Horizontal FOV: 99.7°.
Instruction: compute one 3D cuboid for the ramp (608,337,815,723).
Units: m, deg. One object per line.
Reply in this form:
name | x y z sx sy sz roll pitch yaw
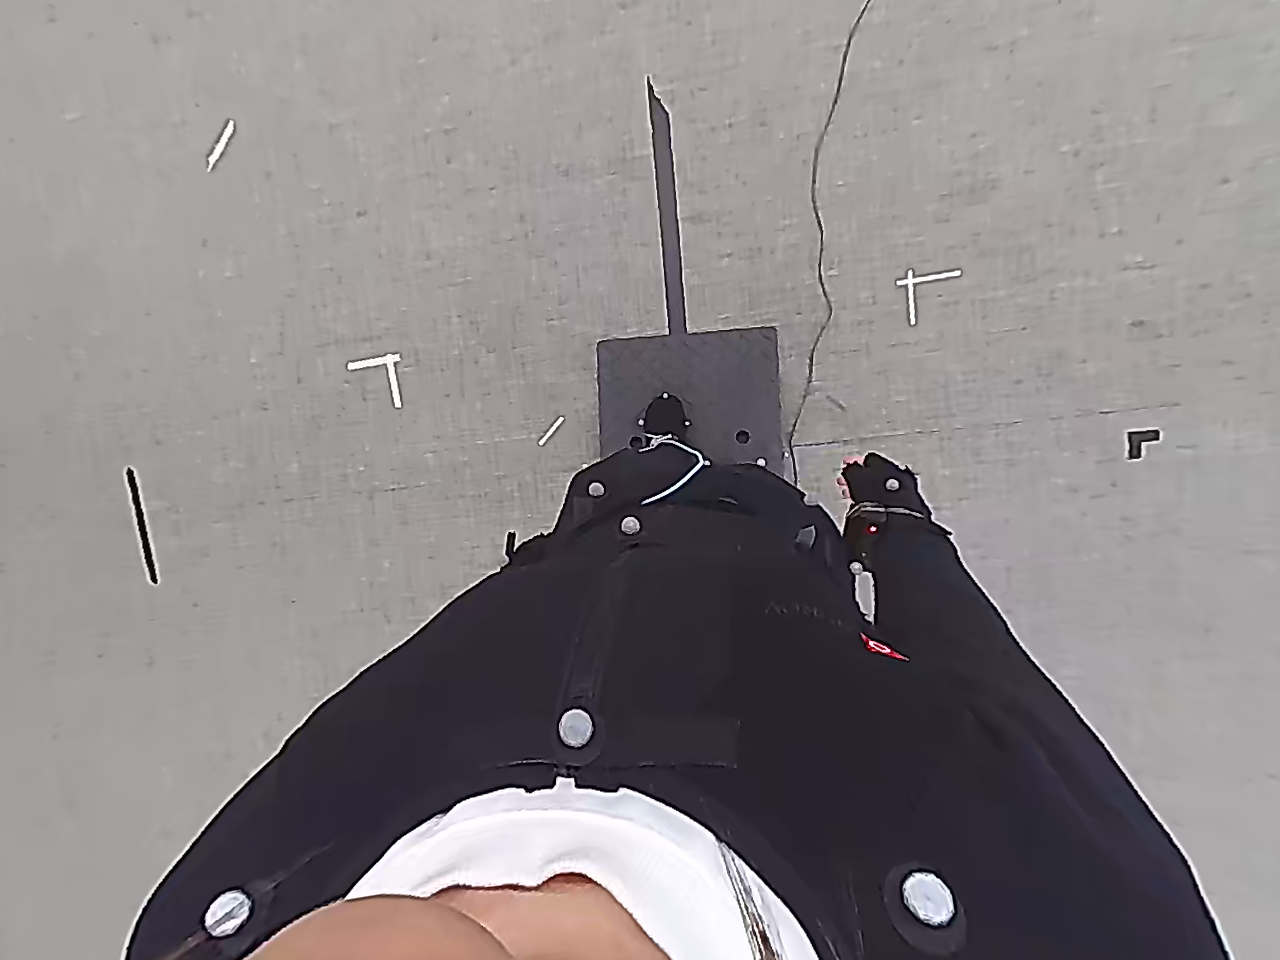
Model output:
ramp | 0.170 0.127 1.443 0.509 0.206 0.991 -6 94 11
